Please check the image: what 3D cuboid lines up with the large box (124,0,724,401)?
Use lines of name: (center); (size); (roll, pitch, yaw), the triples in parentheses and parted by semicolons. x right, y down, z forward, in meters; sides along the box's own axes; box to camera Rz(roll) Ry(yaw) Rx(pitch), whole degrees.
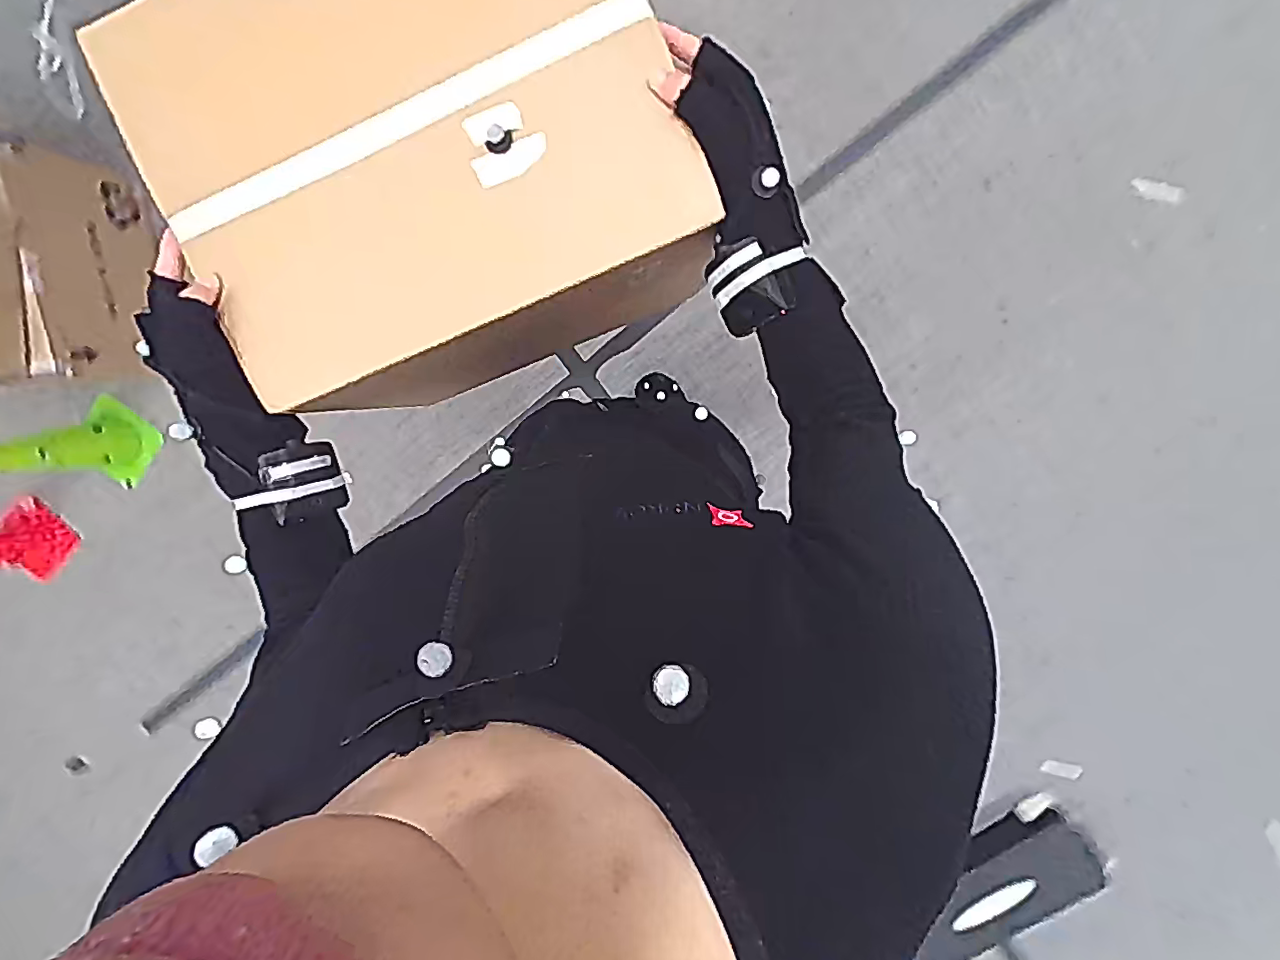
large box: (-0.165, -0.300, 0.569); (0.408, 0.320, 0.320); (-21, 97, 5)
